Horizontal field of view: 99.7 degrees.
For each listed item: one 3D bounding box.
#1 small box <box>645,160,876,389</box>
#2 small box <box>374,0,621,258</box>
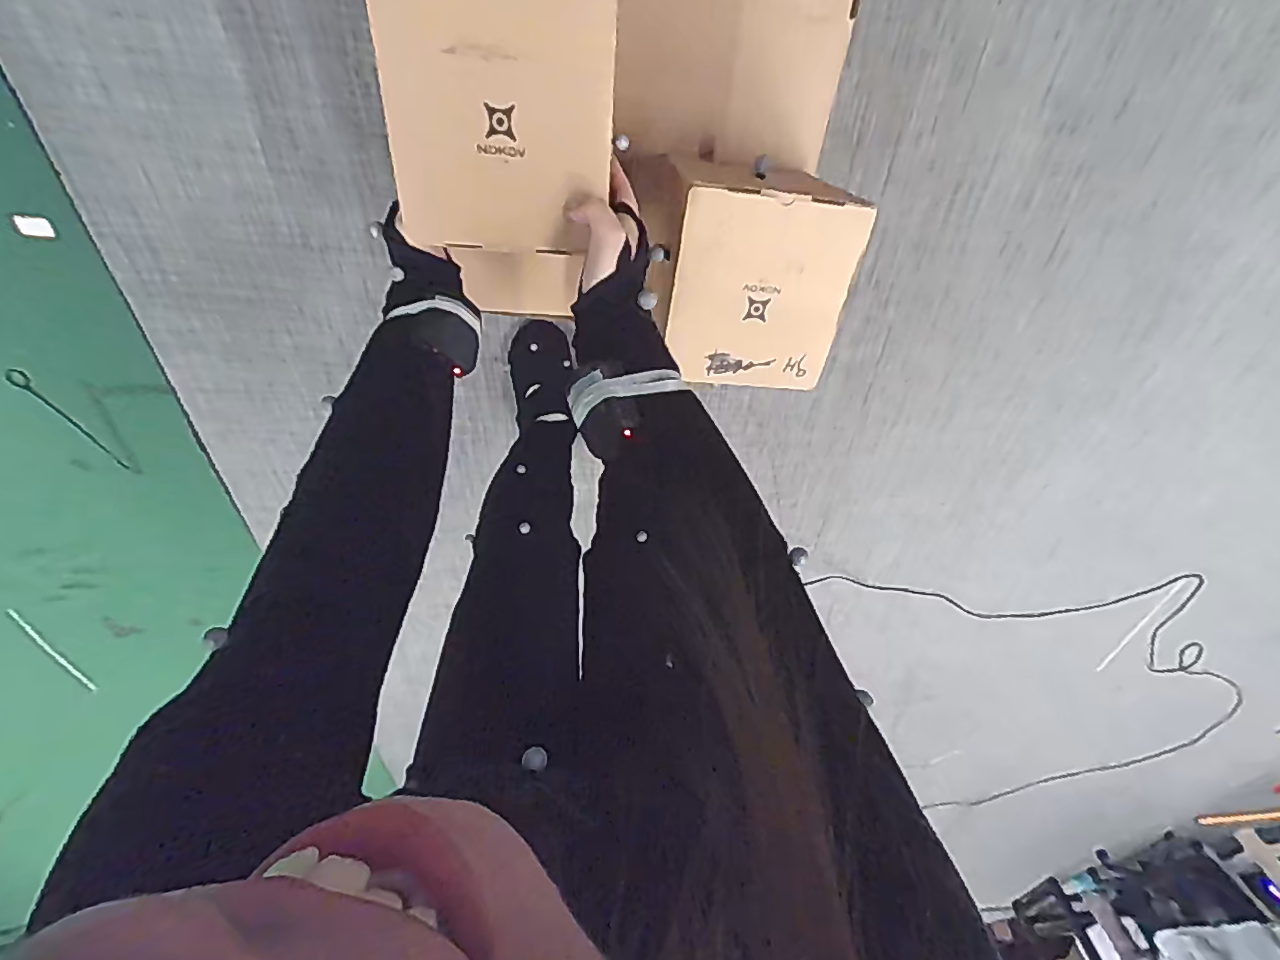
[{"bbox_3d":[0.101,-0.213,0.553,0.168,0.176,0.179,3,126,-8],"label":"small box"},{"bbox_3d":[-0.106,-0.309,0.465,0.168,0.176,0.179,2,125,-7],"label":"small box"}]
